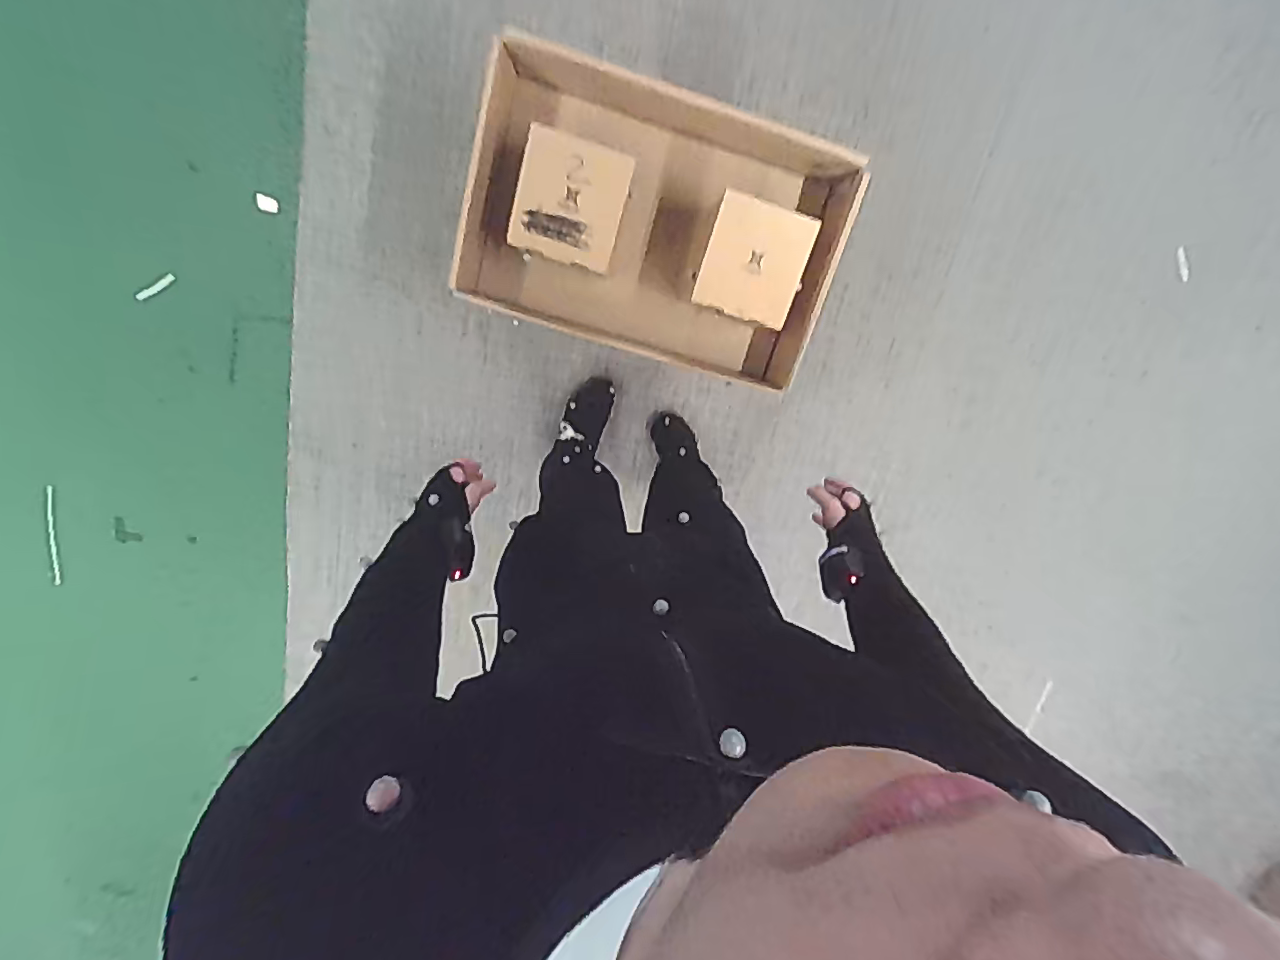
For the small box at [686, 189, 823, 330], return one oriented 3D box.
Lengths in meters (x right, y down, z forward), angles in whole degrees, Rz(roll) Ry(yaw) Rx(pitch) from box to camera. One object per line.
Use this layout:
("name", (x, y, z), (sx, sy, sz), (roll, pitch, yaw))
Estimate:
("small box", (0.187, -0.377, 0.949), (0.168, 0.176, 0.179), (16, 107, -6))
